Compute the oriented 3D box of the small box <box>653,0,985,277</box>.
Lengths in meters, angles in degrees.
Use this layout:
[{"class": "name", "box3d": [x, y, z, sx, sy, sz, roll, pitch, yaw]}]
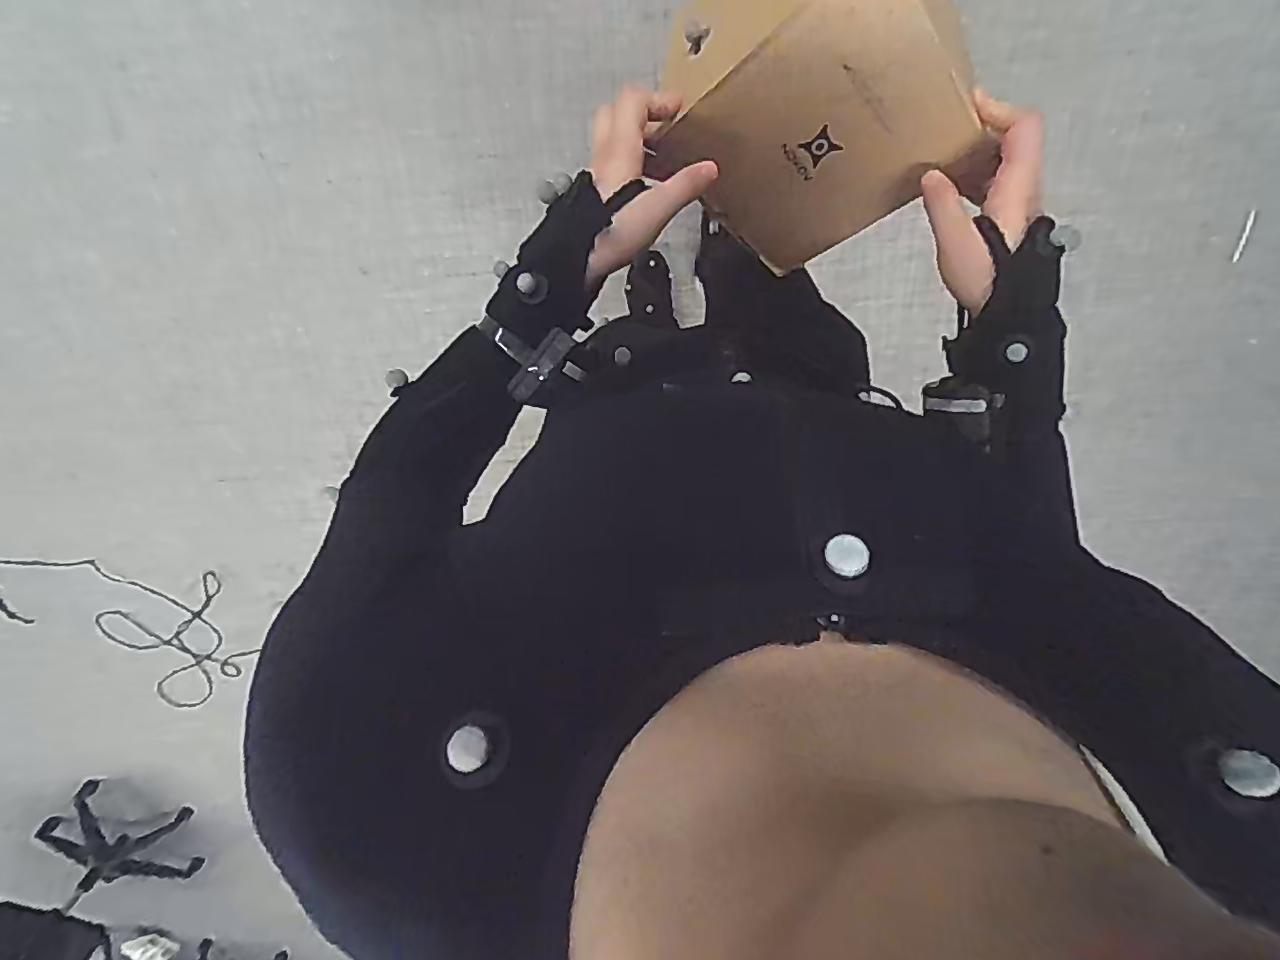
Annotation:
[{"class": "small box", "box3d": [0.134, -0.306, 0.422, 0.168, 0.176, 0.179, 25, 150, -34]}]
